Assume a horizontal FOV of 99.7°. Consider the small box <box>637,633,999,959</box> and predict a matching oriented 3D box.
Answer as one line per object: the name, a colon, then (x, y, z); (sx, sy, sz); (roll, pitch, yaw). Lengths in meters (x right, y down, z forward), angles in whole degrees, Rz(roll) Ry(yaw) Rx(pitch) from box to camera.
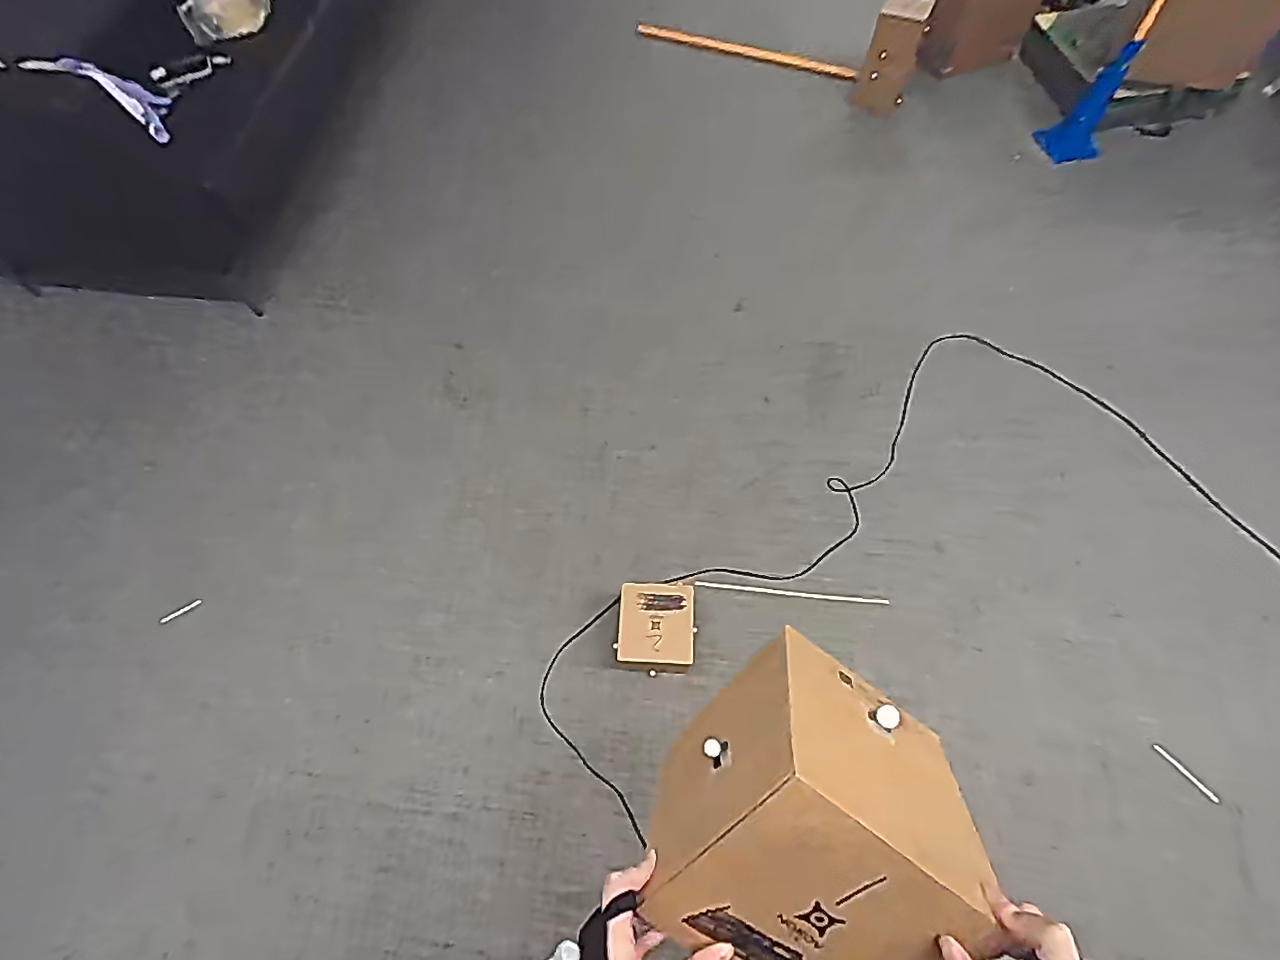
small box: (0.126, 0.263, 0.430); (0.168, 0.176, 0.179); (35, 110, 1)
